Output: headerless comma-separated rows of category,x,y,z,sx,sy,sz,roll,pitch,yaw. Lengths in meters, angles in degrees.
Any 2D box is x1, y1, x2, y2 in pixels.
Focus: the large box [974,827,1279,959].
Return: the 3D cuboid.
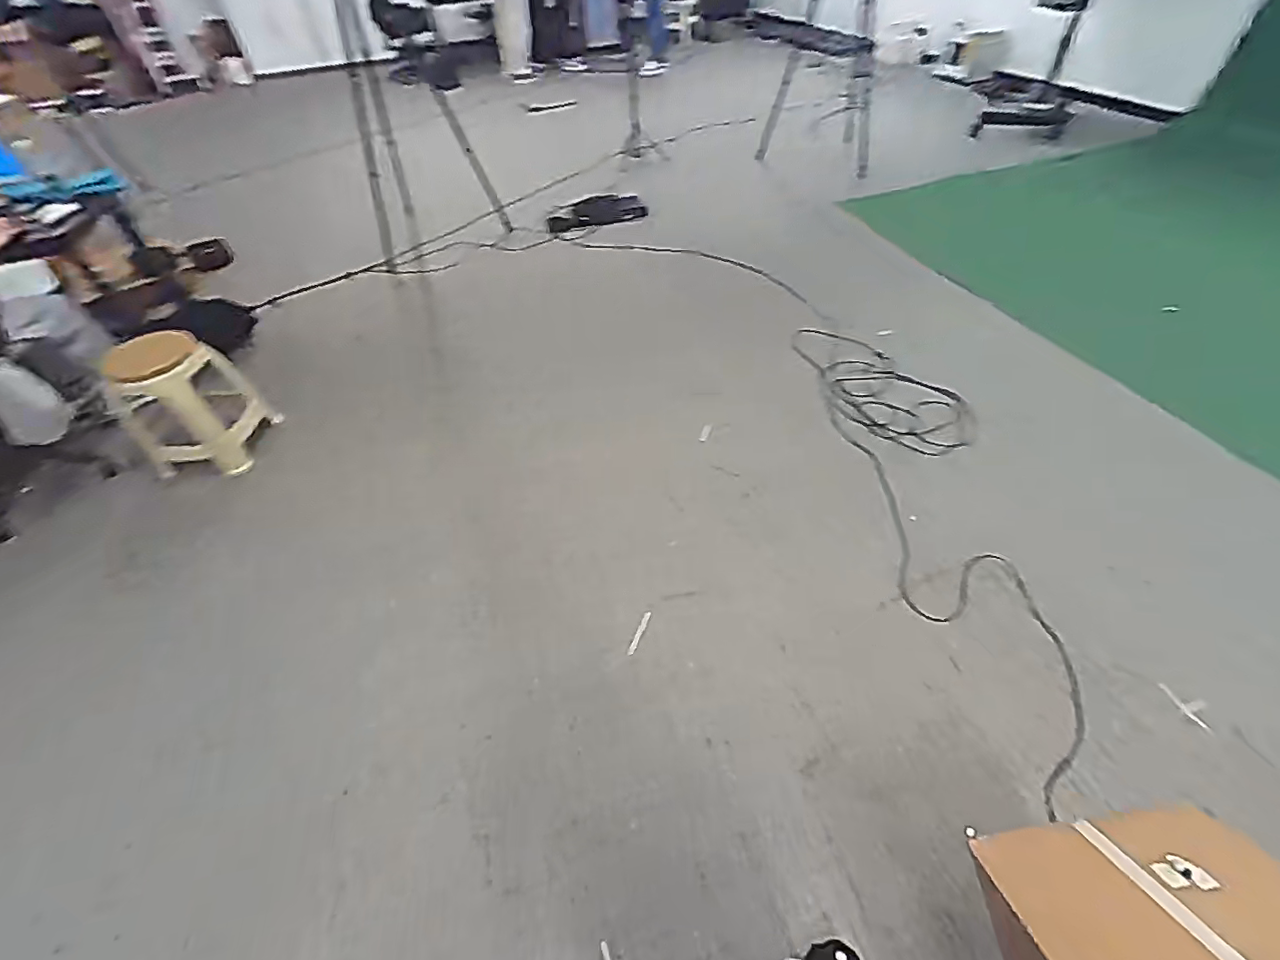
large box,0.646,0.658,0.580,0.320,0.408,0.320,-13,83,10
